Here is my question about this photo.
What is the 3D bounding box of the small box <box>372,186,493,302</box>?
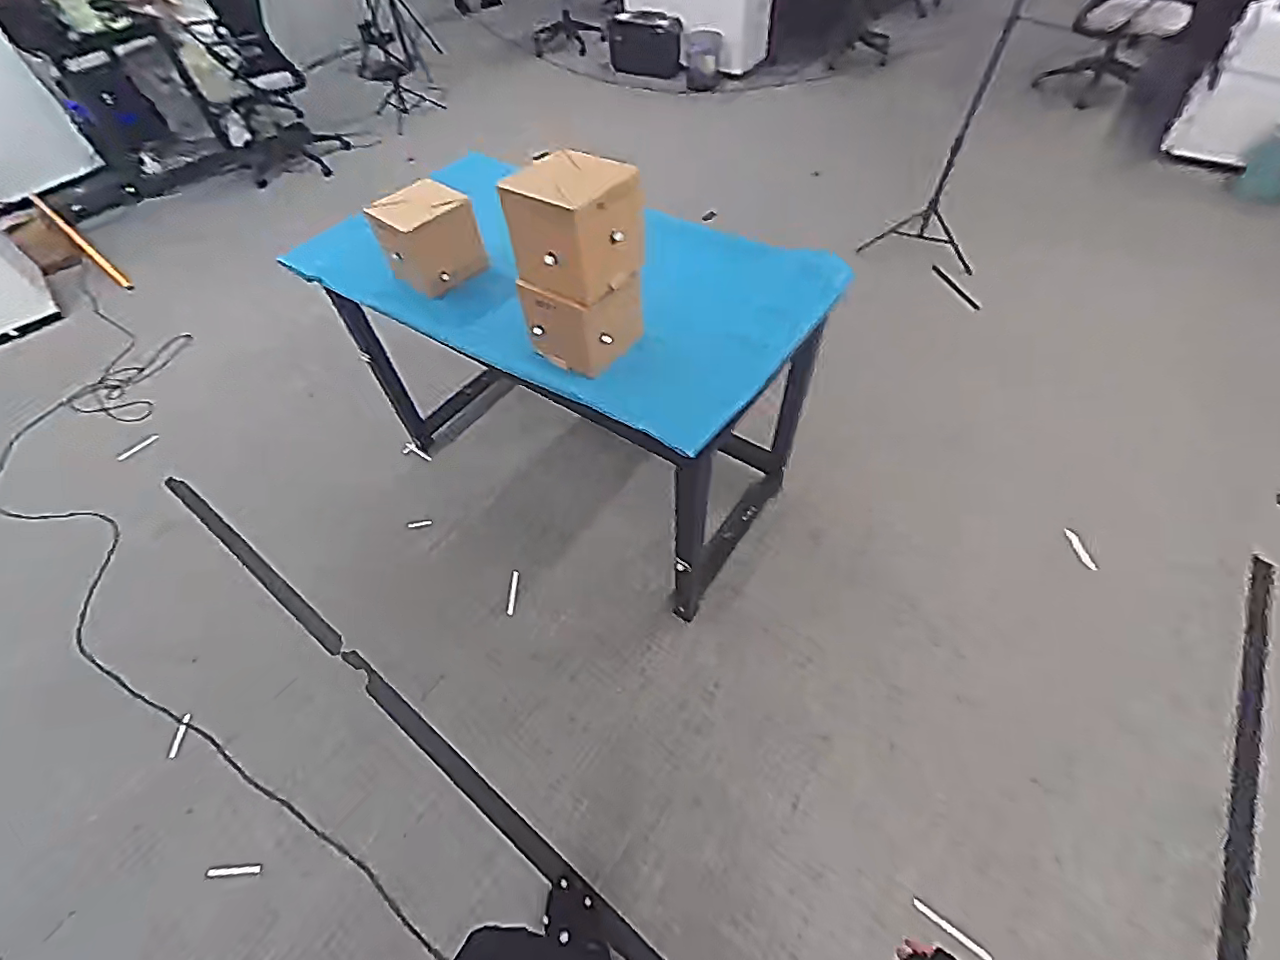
[{"bbox_3d":[-0.479,-0.552,1.255,0.168,0.176,0.179,34,62,24],"label":"small box"}]

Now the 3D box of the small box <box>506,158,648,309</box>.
[{"bbox_3d":[-0.106,-0.432,0.940,0.179,0.176,0.168,29,58,26],"label":"small box"}]

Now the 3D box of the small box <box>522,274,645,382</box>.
[{"bbox_3d":[-0.108,-0.332,1.069,0.168,0.176,0.179,28,59,22],"label":"small box"}]
